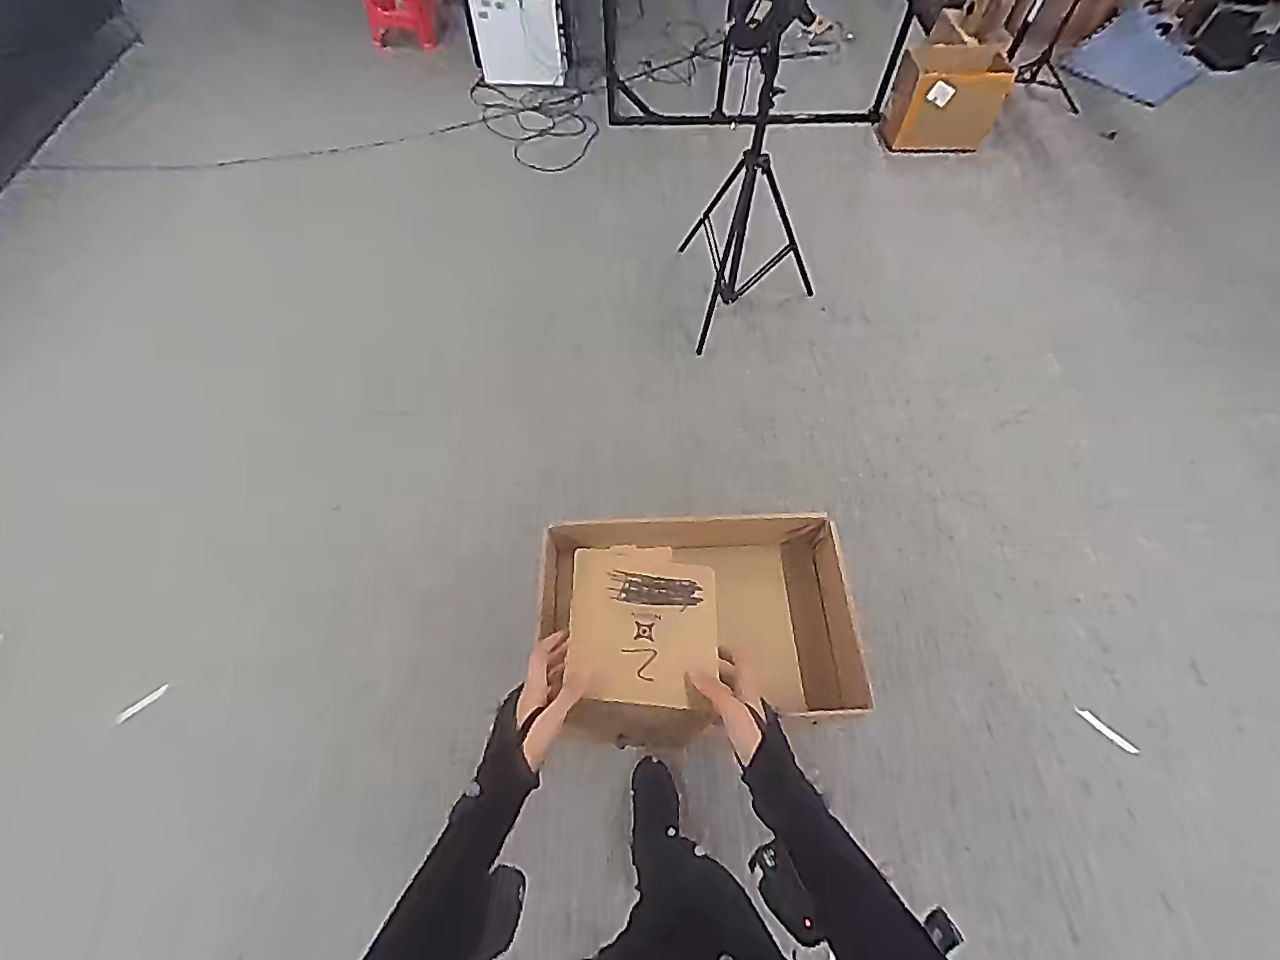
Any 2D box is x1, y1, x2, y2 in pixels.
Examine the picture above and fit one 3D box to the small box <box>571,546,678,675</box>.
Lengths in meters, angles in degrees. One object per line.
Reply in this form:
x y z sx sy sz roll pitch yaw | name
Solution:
-0.024 0.228 0.935 0.168 0.176 0.179 -1 59 0 | small box
